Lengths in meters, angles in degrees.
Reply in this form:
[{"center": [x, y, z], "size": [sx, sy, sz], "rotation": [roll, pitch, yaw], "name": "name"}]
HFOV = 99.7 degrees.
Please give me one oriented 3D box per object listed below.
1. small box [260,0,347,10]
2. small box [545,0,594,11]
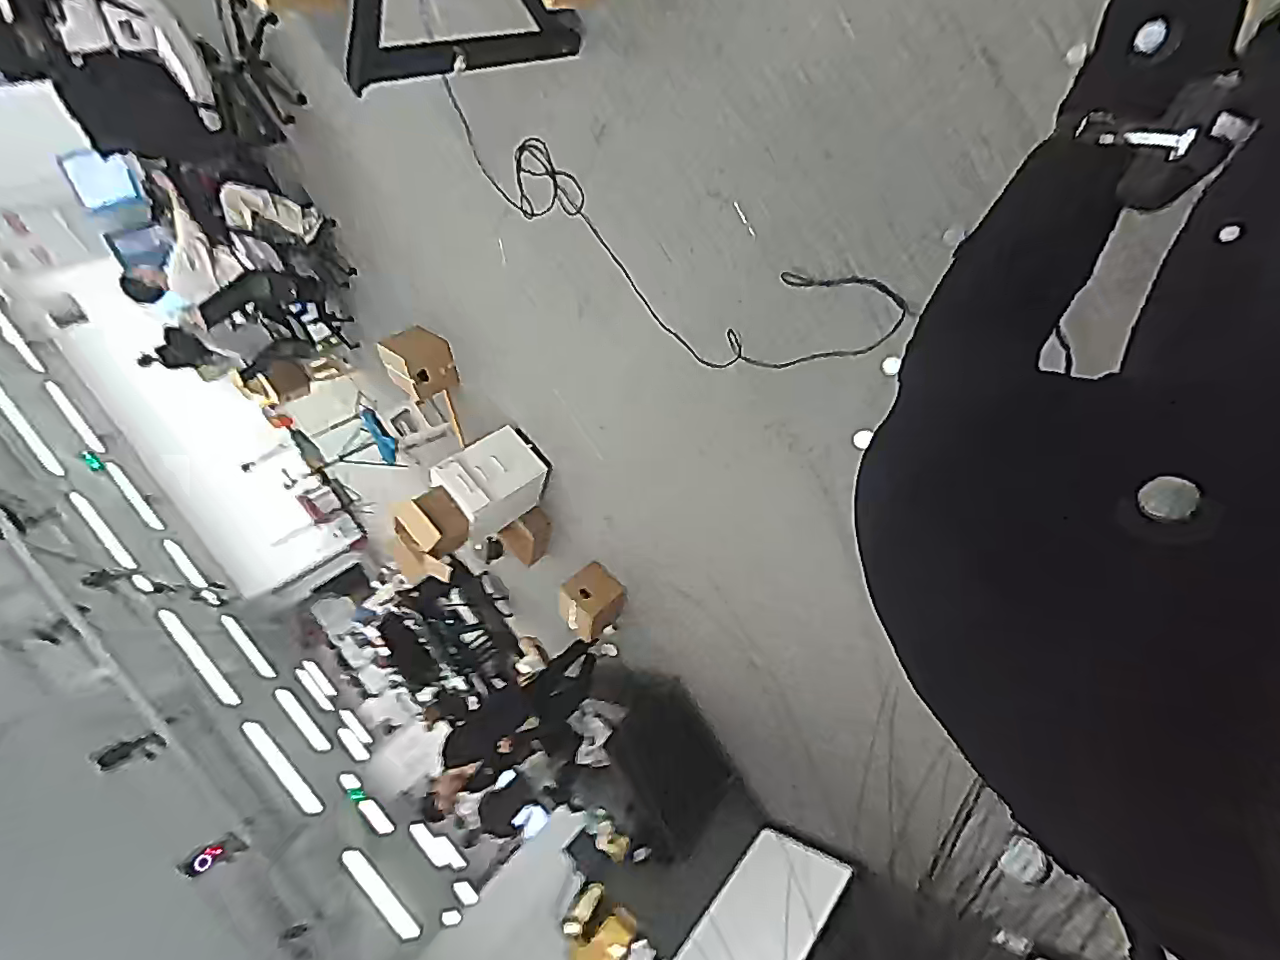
[{"center": [-0.722, -1.093, 1.086], "size": [0.179, 0.176, 0.168], "rotation": [50, 149, 6], "name": "small box"}, {"center": [-0.192, -1.429, 1.464], "size": [0.168, 0.176, 0.179], "rotation": [-18, 105, 58], "name": "small box"}]
